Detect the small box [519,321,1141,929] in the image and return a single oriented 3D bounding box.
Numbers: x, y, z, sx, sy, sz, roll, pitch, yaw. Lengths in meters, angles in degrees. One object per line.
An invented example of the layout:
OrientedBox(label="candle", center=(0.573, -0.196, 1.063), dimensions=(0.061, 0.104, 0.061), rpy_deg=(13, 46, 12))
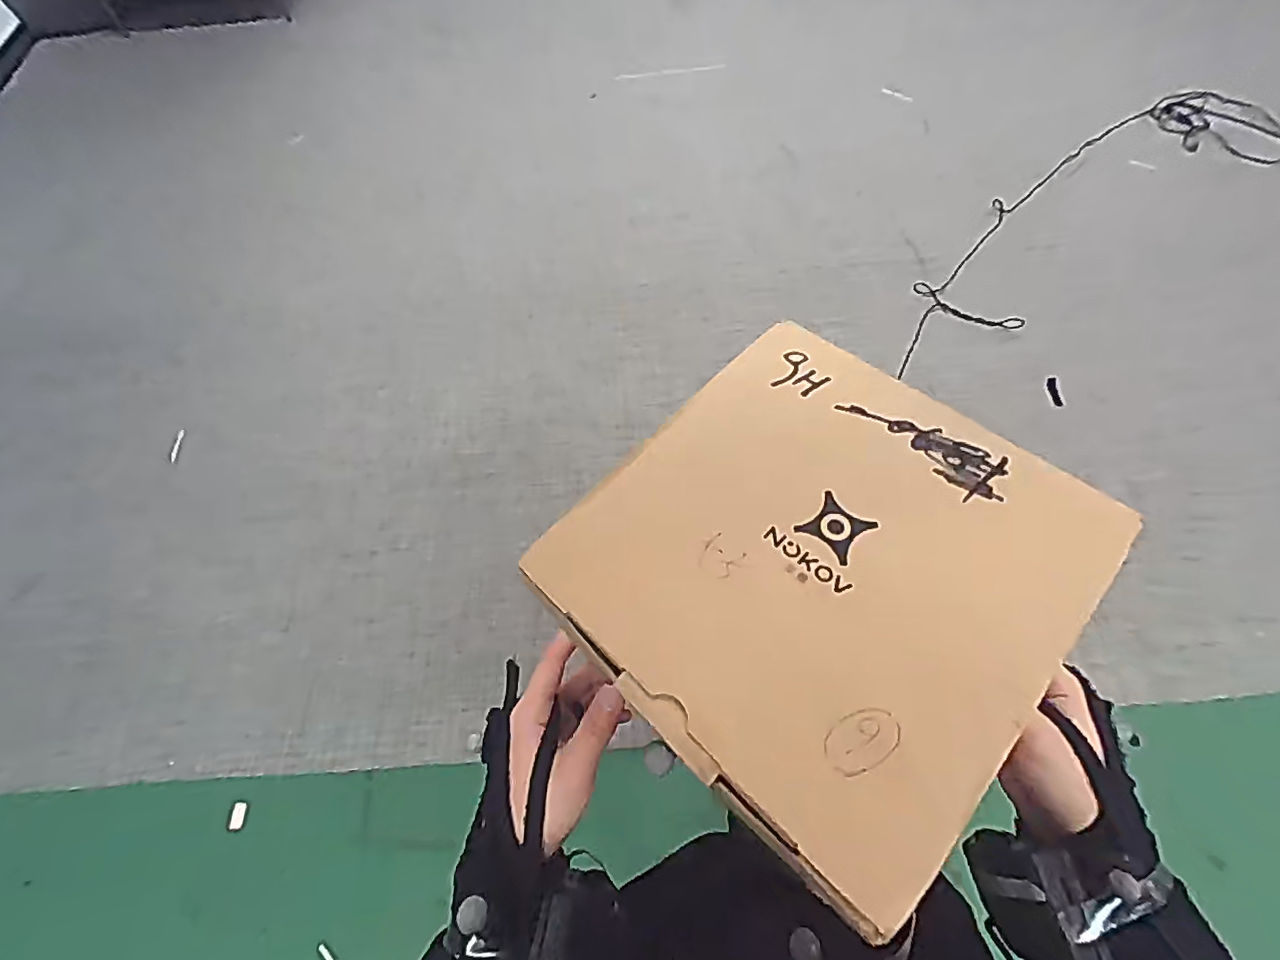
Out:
OrientedBox(label="small box", center=(0.076, 0.064, 0.274), dimensions=(0.168, 0.176, 0.179), rpy_deg=(39, 71, 24))
